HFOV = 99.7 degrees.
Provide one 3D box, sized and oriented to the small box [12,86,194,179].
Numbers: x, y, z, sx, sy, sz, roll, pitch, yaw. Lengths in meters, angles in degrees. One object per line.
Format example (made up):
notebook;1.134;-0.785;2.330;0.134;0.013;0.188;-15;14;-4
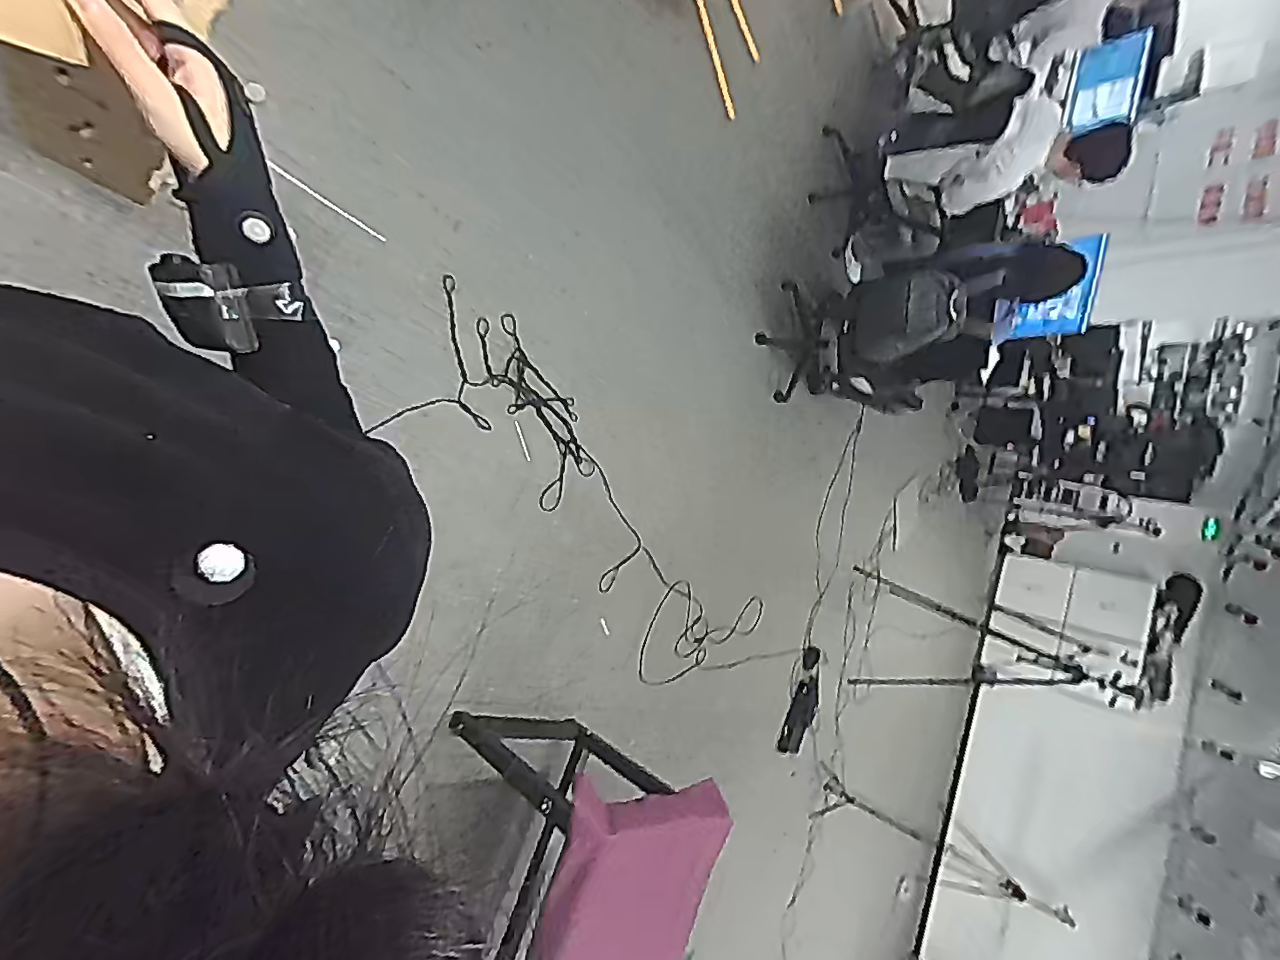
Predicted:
small box;-0.849;-0.620;0.865;0.179;0.176;0.168;28;79;-45

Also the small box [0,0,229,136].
small box;-0.624;-0.557;0.638;0.168;0.176;0.179;25;81;-45

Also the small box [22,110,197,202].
small box;-0.960;-0.640;0.984;0.179;0.176;0.168;28;78;-46

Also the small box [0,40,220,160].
small box;-0.735;-0.581;0.754;0.179;0.176;0.168;25;80;-46
